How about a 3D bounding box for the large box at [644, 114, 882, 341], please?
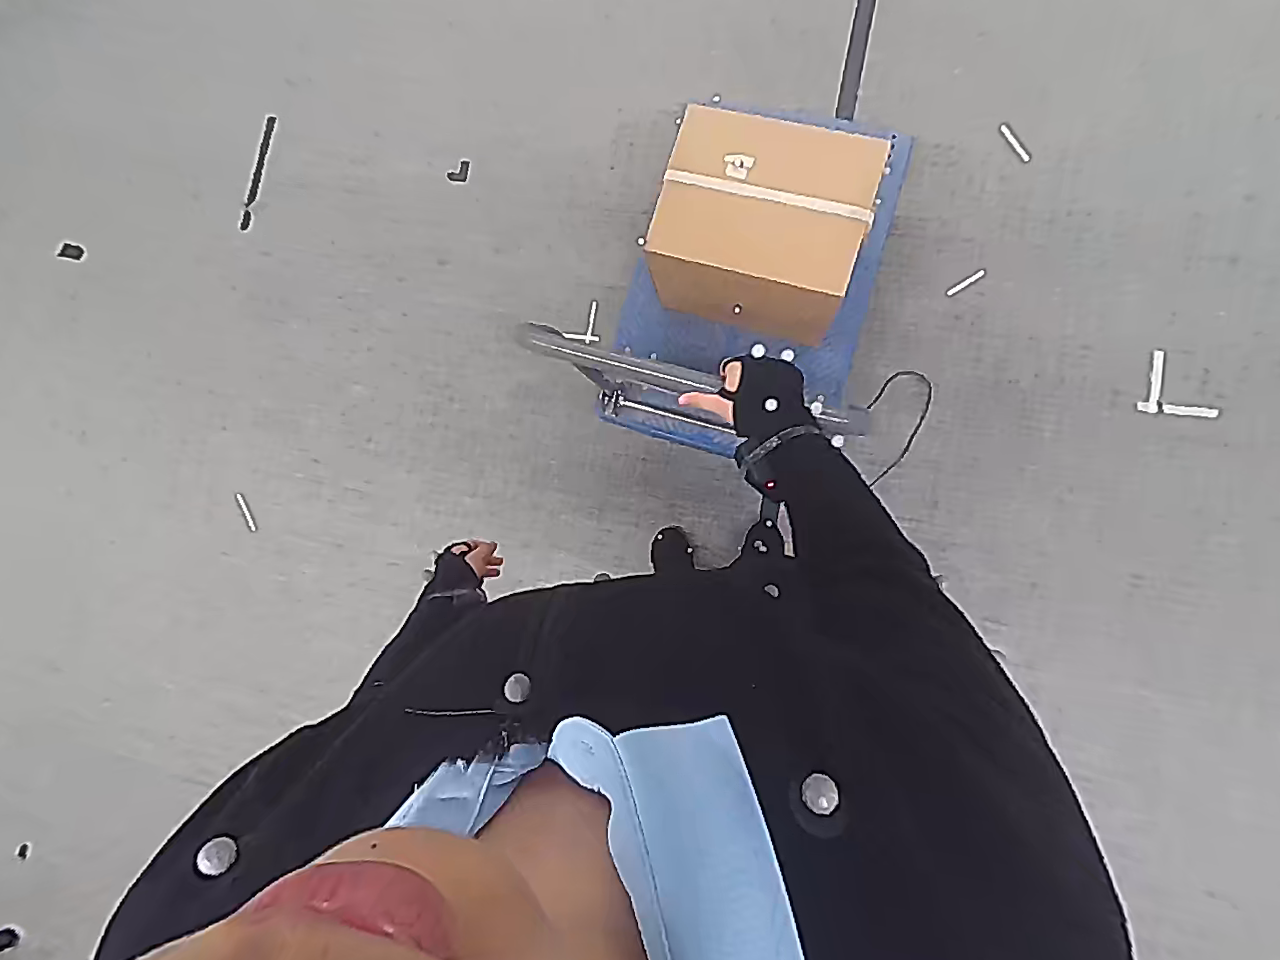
[{"bbox_3d":[0.264,-0.542,1.212,0.408,0.320,0.320,17,88,11],"label":"large box"}]
